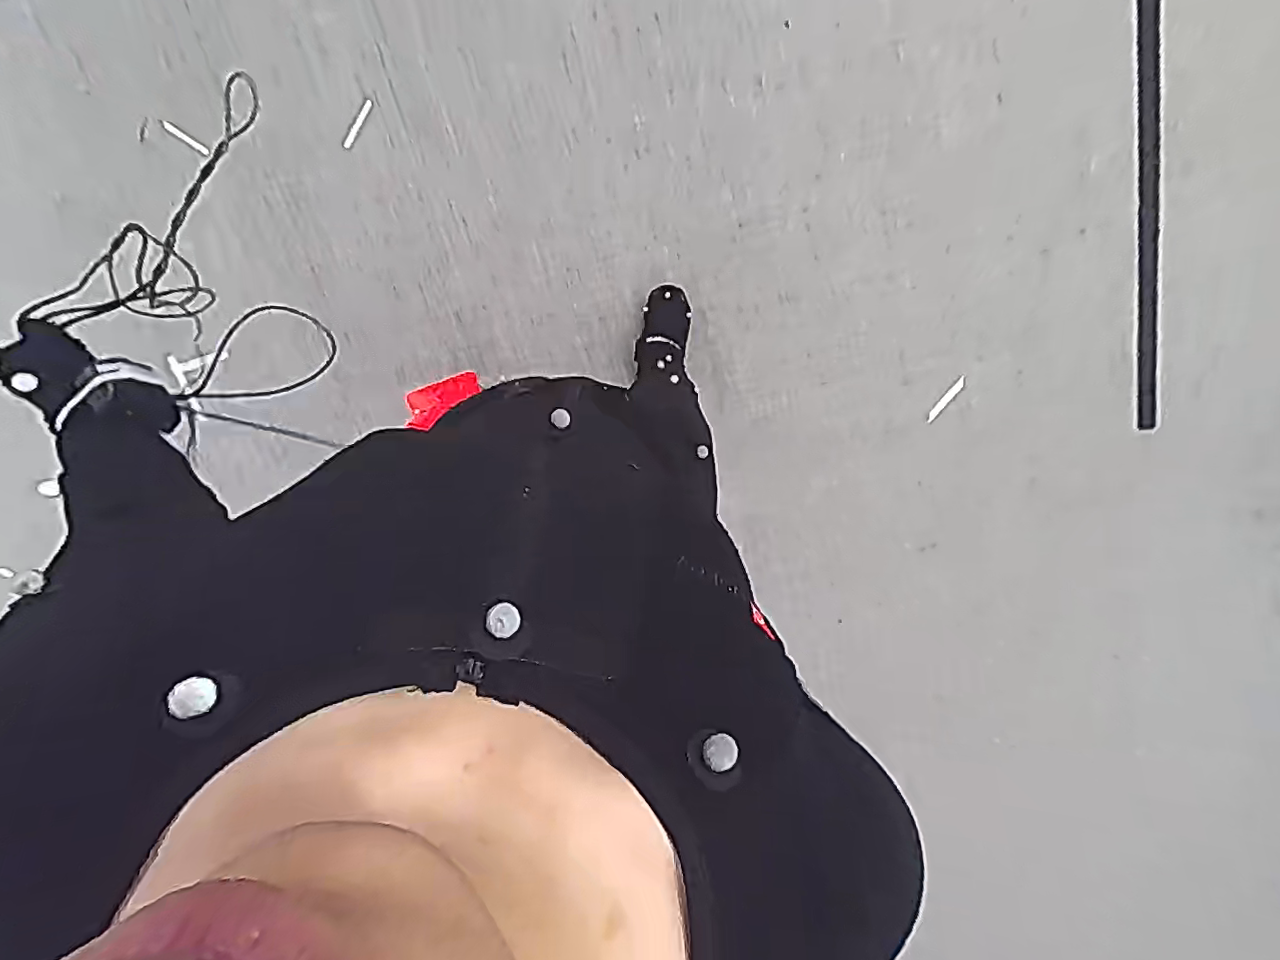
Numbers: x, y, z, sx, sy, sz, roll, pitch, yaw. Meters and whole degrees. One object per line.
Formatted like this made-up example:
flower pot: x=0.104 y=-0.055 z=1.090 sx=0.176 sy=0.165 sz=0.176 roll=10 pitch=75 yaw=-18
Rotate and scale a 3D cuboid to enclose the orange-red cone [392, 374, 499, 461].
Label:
orange-red cone: x=-0.480 y=-0.116 z=1.242 sx=0.199 sy=0.360 sz=0.198 roll=-18 pitch=105 yaw=3
